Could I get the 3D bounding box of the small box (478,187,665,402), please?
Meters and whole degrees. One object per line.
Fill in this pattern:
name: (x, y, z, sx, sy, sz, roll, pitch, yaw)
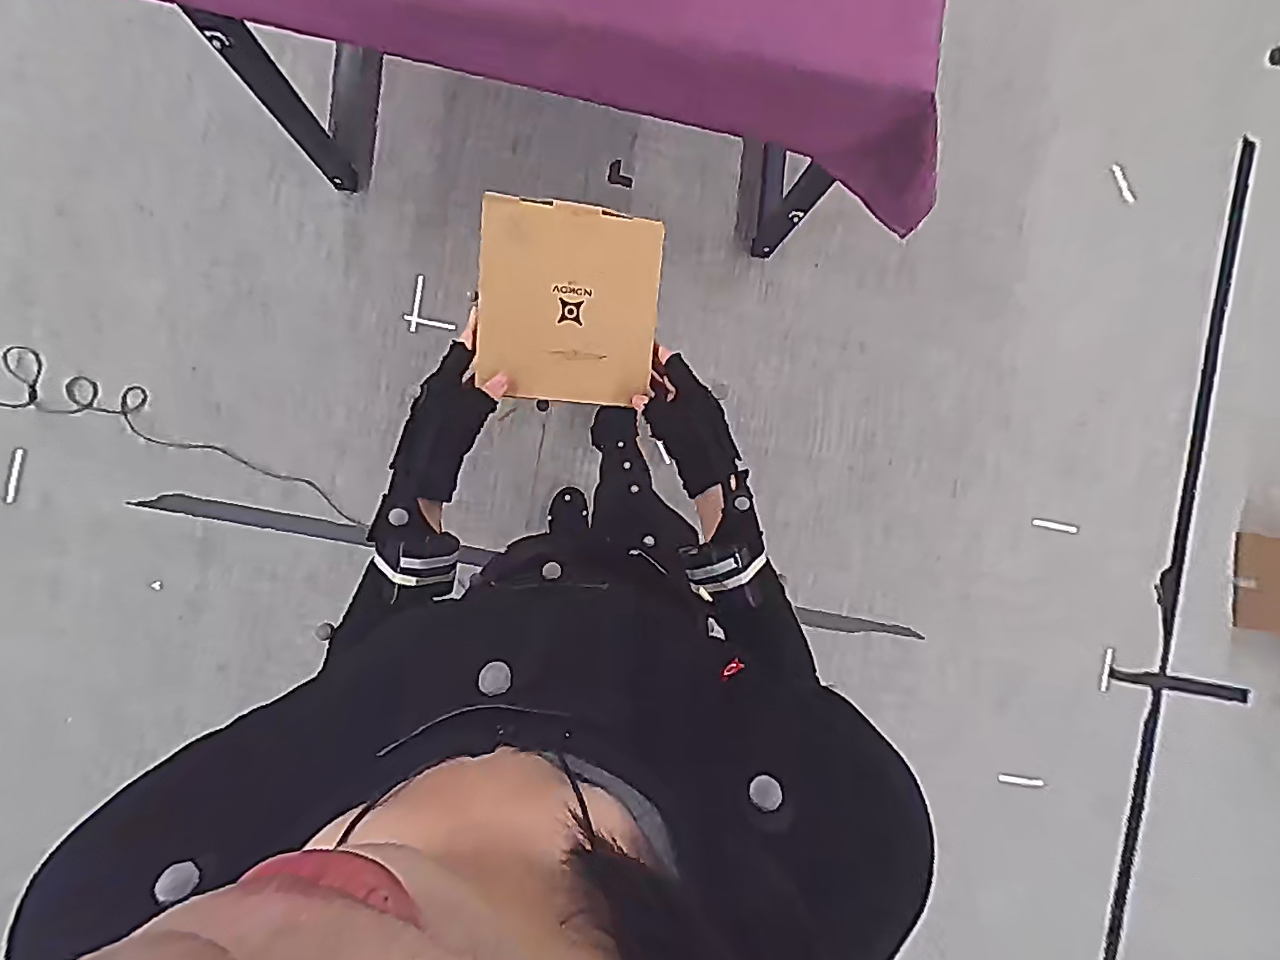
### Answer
small box: (-0.080, -0.178, 0.572, 0.168, 0.176, 0.179, 2, 101, -14)
